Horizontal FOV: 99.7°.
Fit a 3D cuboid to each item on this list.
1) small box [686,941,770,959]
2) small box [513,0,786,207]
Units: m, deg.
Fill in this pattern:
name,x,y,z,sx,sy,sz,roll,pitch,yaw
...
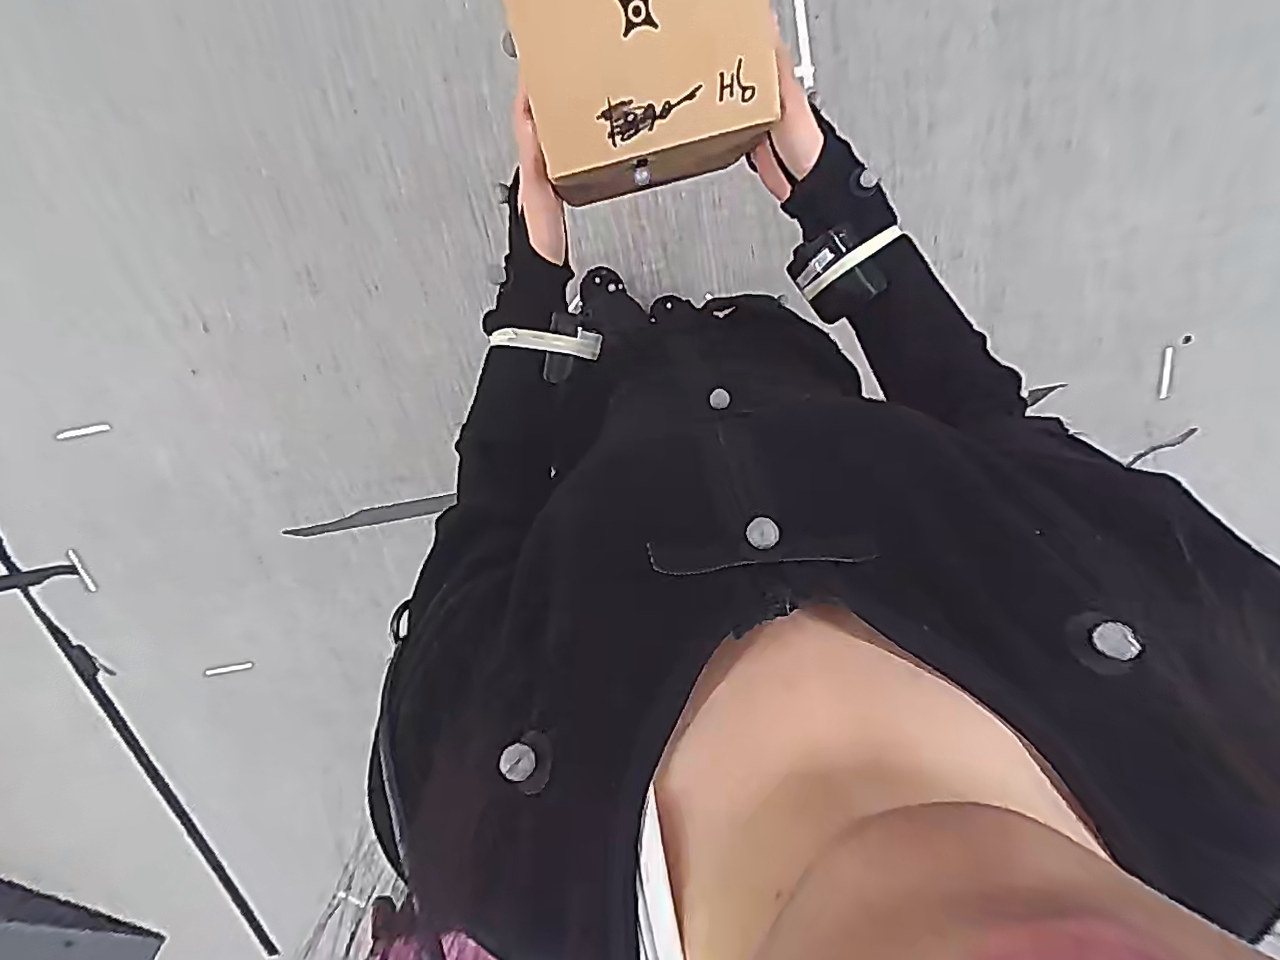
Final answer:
name,x,y,z,sx,sy,sz,roll,pitch,yaw
small box,0.185,1.027,1.037,0.168,0.176,0.179,-10,111,3
small box,-0.003,-0.331,0.414,0.168,0.176,0.179,-13,110,2
